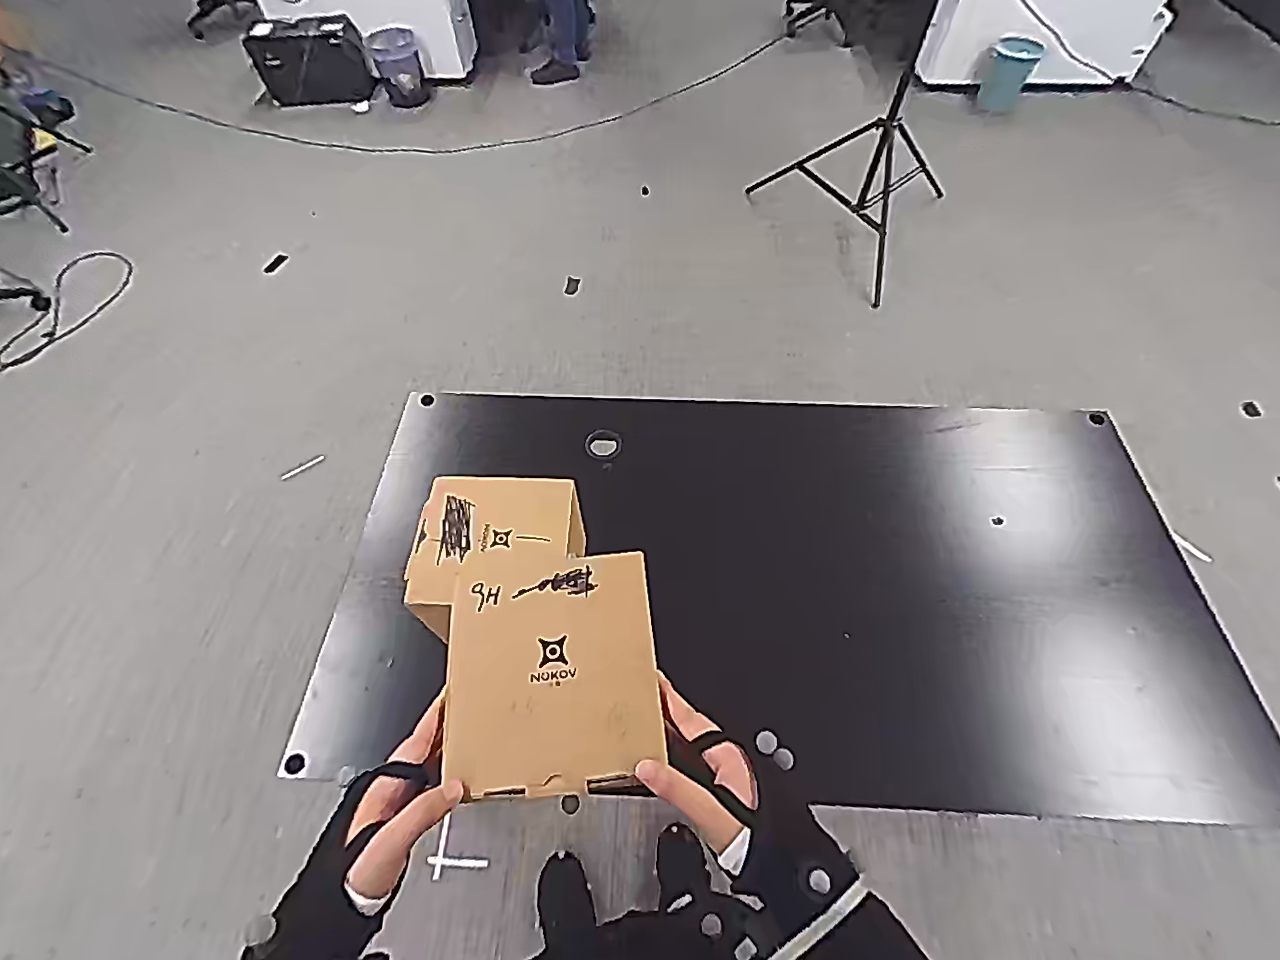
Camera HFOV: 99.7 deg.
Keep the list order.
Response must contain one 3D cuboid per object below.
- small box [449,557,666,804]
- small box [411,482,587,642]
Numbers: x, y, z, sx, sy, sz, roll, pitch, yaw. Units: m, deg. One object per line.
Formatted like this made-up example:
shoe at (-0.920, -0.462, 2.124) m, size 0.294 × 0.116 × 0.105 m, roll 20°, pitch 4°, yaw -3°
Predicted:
small box at (-0.067, 0.189, 0.506) m, size 0.168 × 0.176 × 0.179 m, roll -6°, pitch 61°, yaw -3°
small box at (-0.167, 0.116, 0.707) m, size 0.179 × 0.176 × 0.168 m, roll 1°, pitch 58°, yaw 0°
